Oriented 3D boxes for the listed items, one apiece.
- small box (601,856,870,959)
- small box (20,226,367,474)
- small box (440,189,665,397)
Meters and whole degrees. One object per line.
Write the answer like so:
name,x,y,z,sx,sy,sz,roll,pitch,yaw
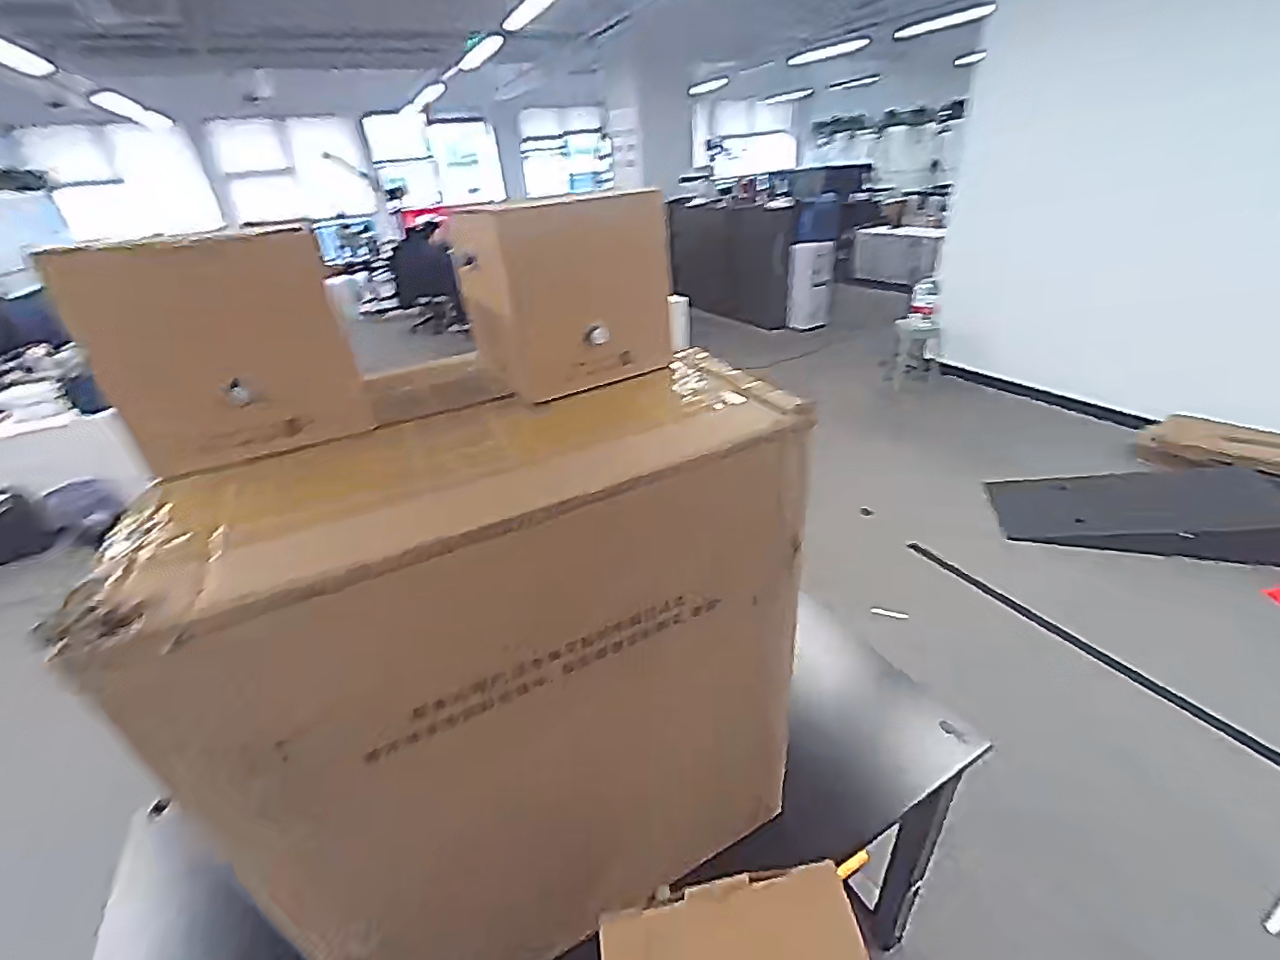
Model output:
small box,0.069,0.384,0.361,0.168,0.176,0.179,-10,47,-5
small box,-0.361,-0.124,0.479,0.168,0.176,0.179,-20,32,-24
small box,-0.089,-0.199,0.566,0.168,0.176,0.179,-21,32,-24
